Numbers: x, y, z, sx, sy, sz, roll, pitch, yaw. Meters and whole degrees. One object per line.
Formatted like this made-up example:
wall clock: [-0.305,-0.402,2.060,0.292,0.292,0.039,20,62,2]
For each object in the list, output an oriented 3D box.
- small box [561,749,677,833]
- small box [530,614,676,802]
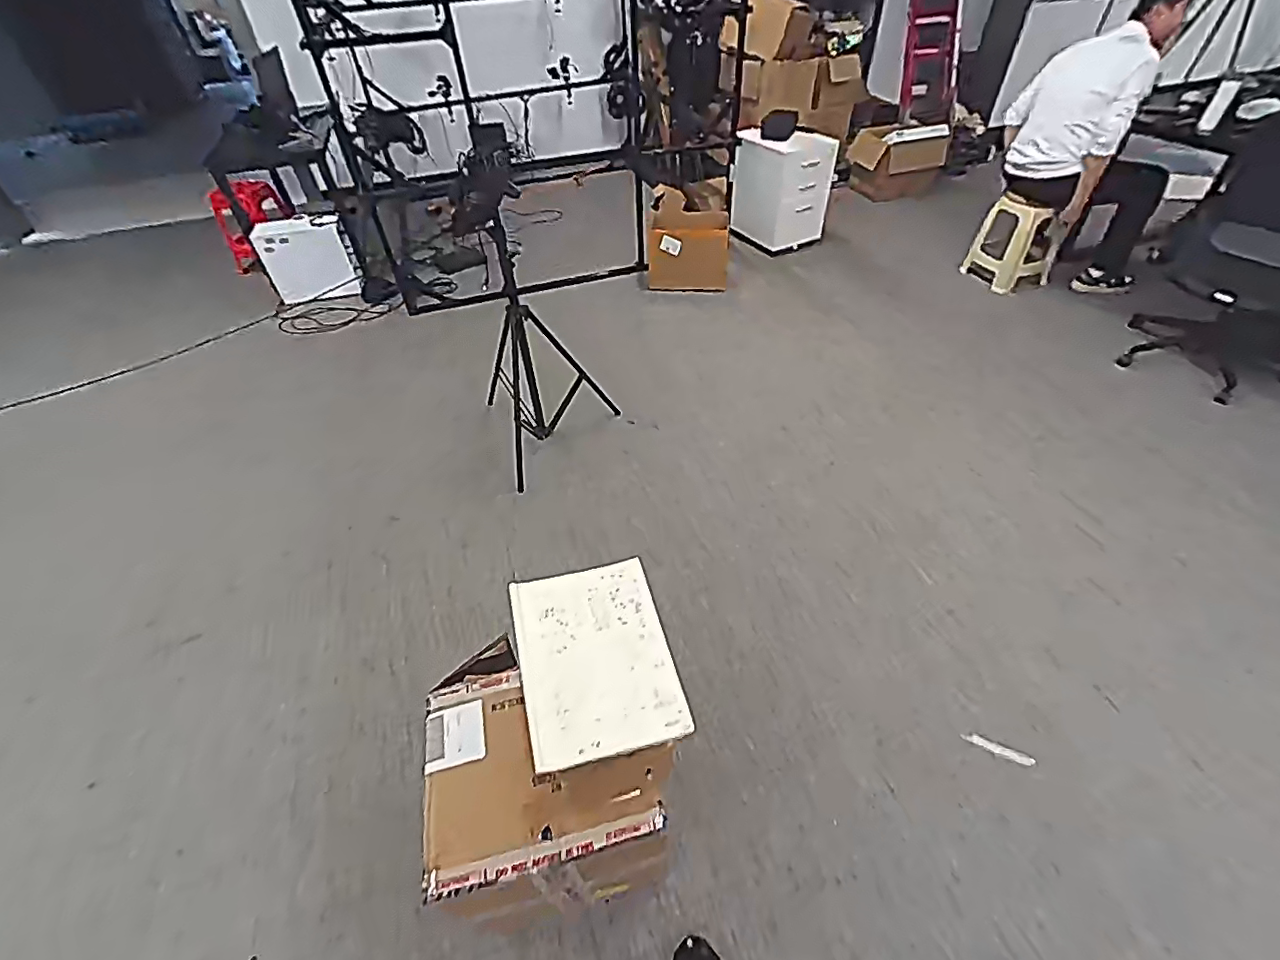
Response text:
small box: [-0.051,0.450,0.898,0.179,0.176,0.168,-16,47,-14]
small box: [-0.057,0.330,0.787,0.168,0.176,0.179,-13,47,-13]
